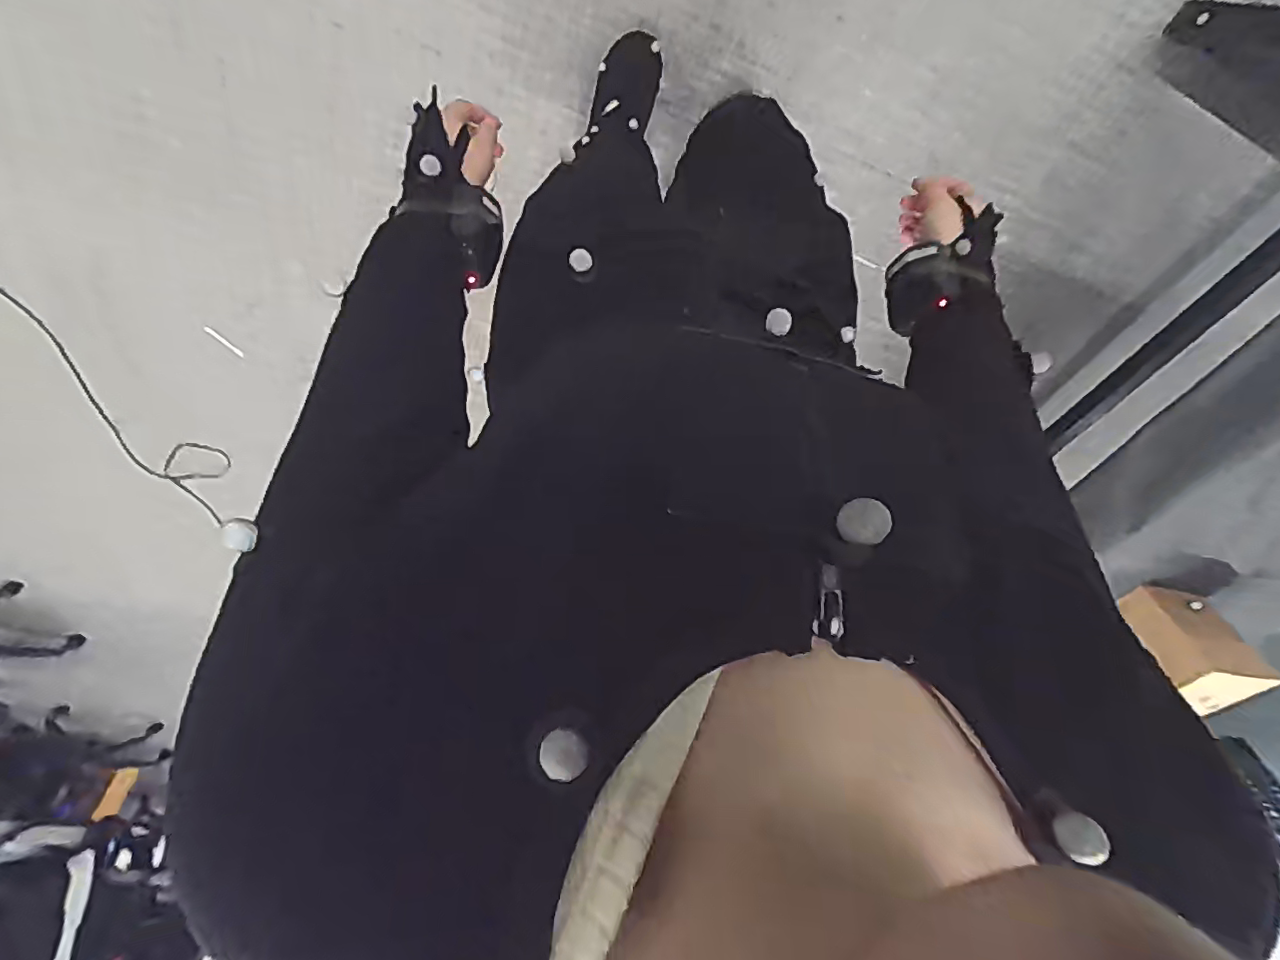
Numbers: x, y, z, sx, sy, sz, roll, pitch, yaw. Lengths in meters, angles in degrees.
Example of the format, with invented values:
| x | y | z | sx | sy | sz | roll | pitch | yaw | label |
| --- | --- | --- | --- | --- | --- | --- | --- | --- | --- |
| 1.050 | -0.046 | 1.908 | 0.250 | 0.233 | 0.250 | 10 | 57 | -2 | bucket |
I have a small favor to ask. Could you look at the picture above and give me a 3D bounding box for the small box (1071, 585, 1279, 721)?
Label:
| x | y | z | sx | sy | sz | roll | pitch | yaw | label |
| --- | --- | --- | --- | --- | --- | --- | --- | --- | --- |
| 0.941 | 0.309 | 0.970 | 0.179 | 0.176 | 0.168 | 11 | 132 | -15 | small box |
